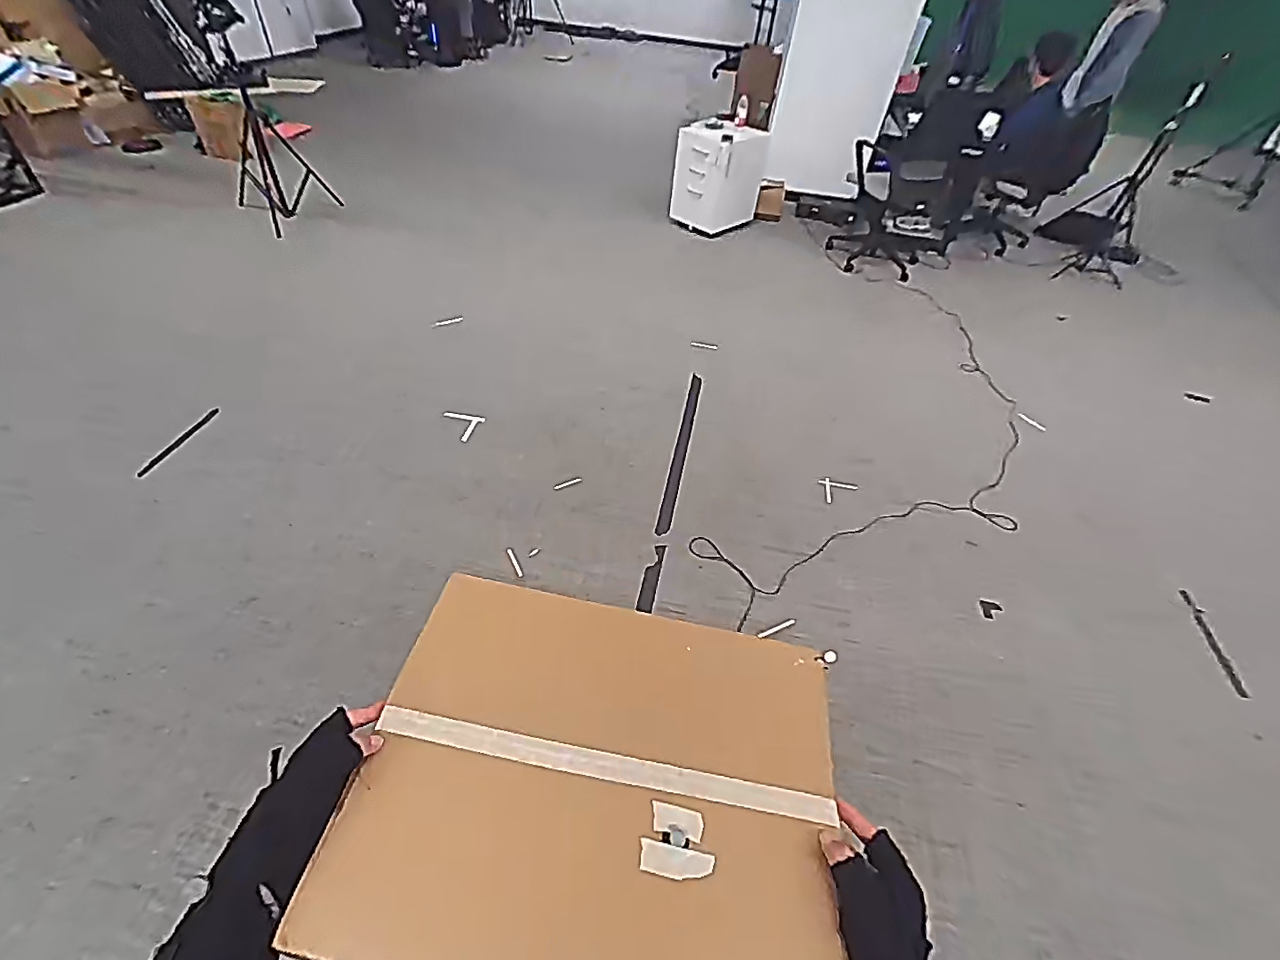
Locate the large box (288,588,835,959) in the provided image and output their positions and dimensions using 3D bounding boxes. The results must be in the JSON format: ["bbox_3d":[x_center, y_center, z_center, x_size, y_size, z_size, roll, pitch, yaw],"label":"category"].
[{"bbox_3d":[-0.053,0.362,0.583,0.408,0.320,0.320,12,46,1],"label":"large box"}]
